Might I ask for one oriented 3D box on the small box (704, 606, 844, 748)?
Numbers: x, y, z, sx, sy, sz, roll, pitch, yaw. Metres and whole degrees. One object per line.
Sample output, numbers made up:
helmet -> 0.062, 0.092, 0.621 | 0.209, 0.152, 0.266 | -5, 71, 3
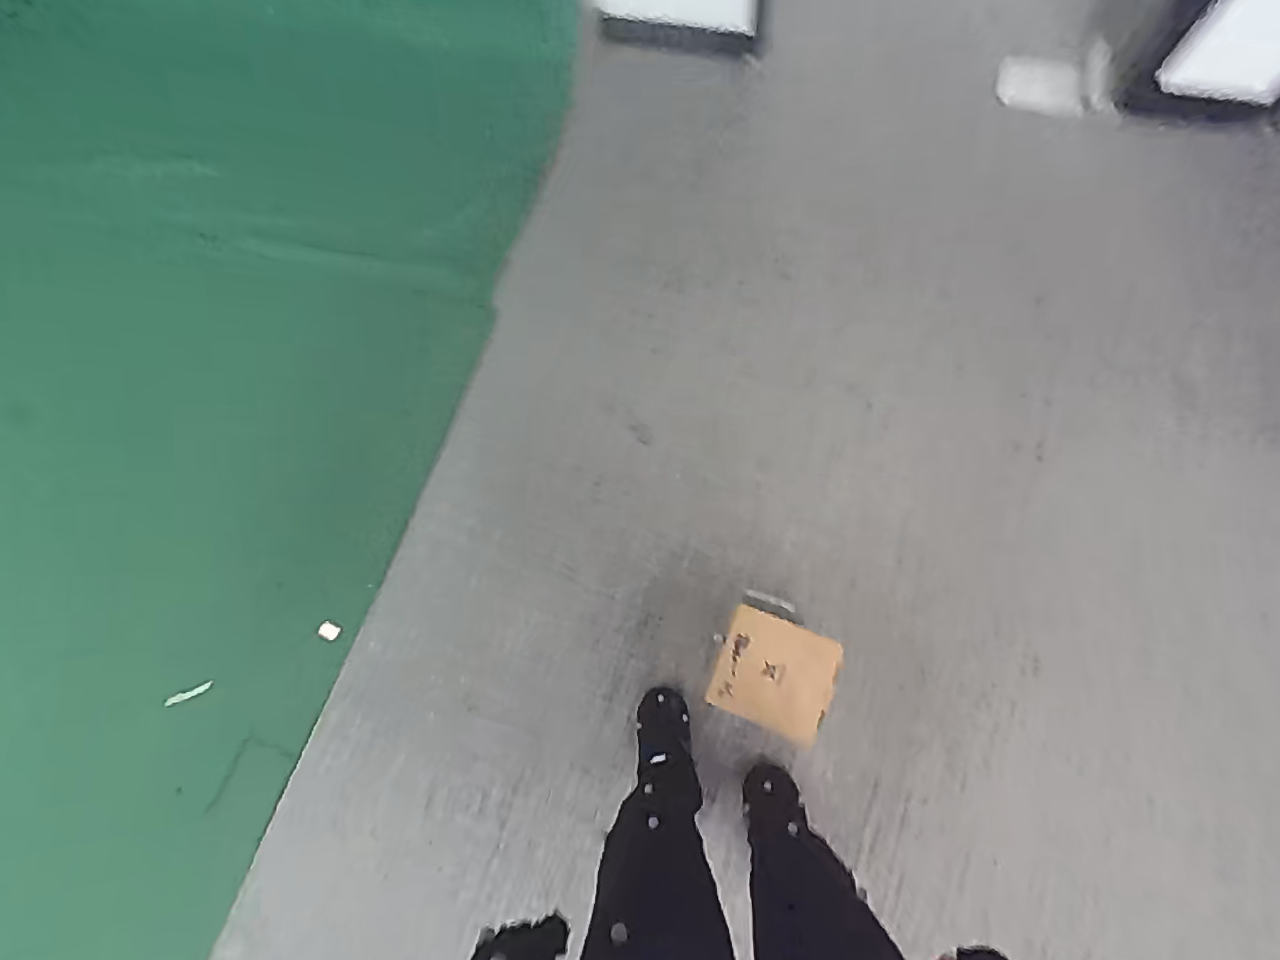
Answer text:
small box -> 0.223, 0.326, 0.933 | 0.179, 0.176, 0.168 | 22, 80, 13
